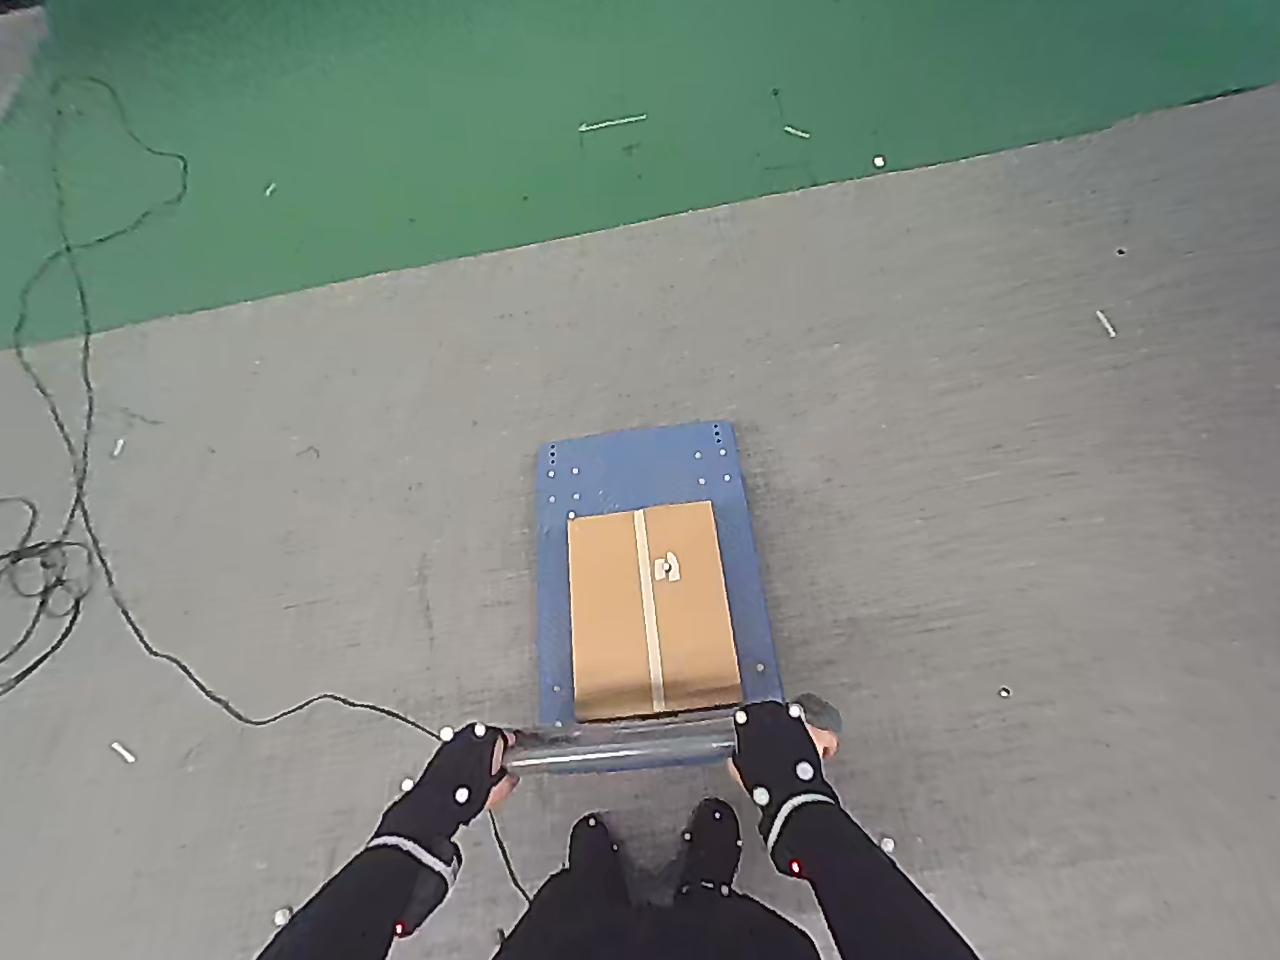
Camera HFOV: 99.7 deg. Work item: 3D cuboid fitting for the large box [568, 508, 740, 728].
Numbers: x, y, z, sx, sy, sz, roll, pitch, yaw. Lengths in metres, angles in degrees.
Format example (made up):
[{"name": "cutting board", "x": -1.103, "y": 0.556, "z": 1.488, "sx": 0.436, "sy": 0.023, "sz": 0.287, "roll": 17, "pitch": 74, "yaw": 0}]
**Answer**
[{"name": "large box", "x": 0.030, "y": 0.322, "z": 1.219, "sx": 0.320, "sy": 0.320, "sz": 0.408, "roll": -7, "pitch": 64, "yaw": 3}]
